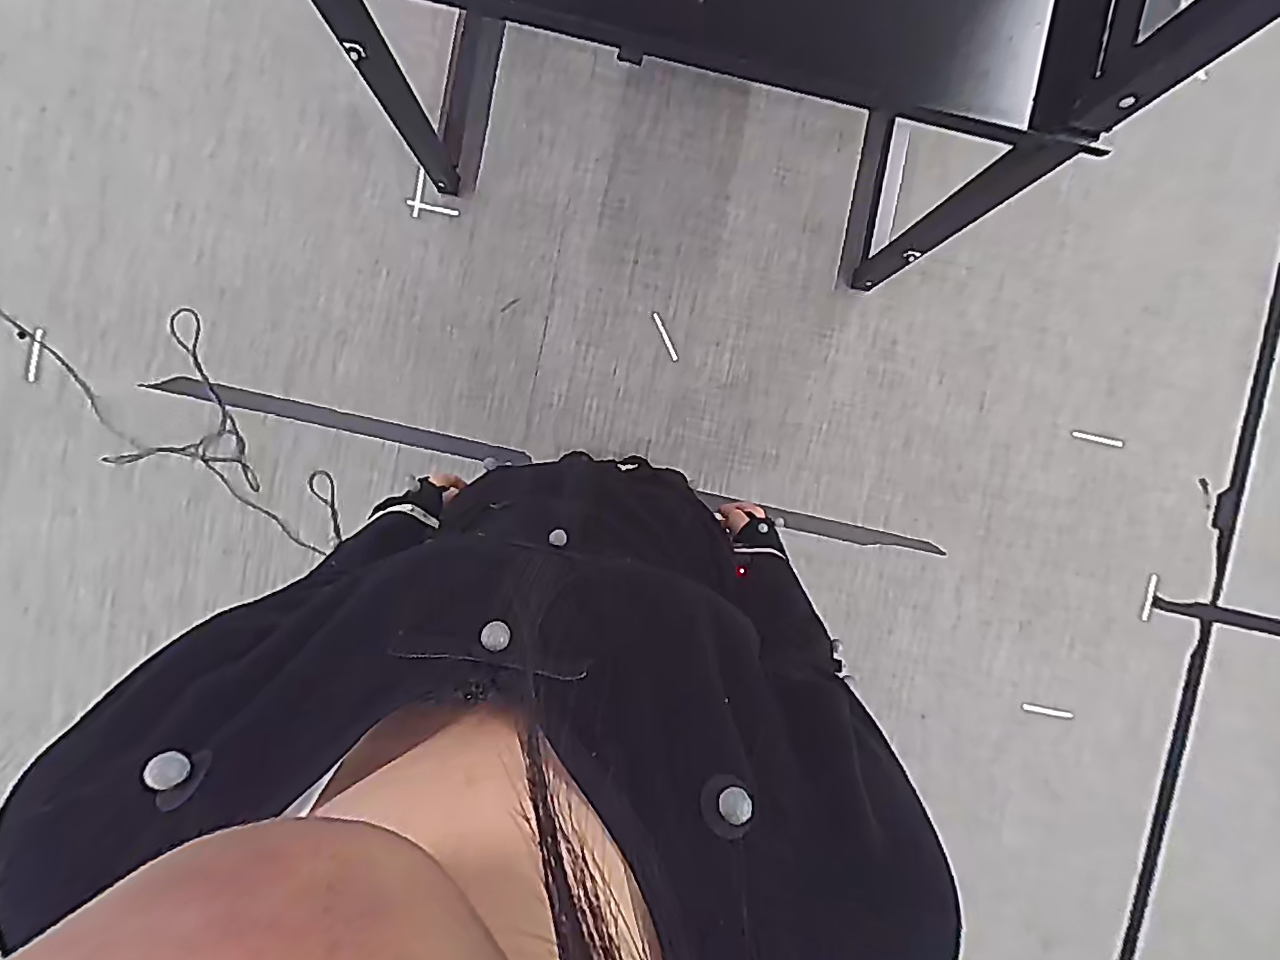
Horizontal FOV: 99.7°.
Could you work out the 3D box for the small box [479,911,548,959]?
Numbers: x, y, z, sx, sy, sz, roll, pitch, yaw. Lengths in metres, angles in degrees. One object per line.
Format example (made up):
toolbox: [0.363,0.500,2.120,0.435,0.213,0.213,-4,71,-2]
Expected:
small box: [-0.336,1.284,1.428,0.168,0.176,0.179,3,92,-4]
